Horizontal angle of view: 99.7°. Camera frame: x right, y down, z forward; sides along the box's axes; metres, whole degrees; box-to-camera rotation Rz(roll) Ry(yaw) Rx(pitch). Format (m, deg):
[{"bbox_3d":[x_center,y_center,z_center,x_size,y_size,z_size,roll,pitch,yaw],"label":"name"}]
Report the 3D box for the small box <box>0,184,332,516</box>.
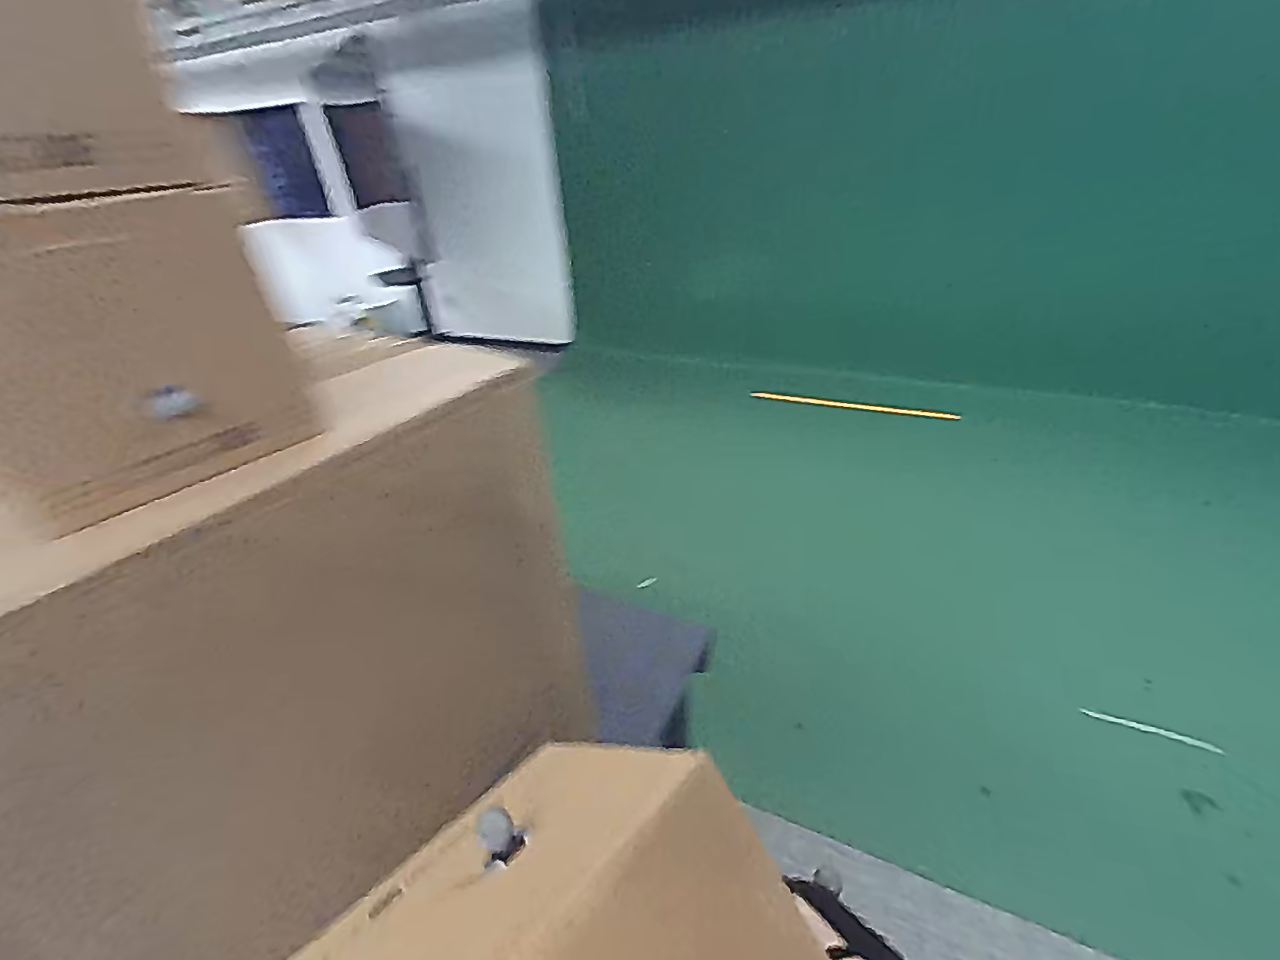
[{"bbox_3d":[-0.352,-0.099,0.368,0.179,0.176,0.168,21,40,30],"label":"small box"}]
